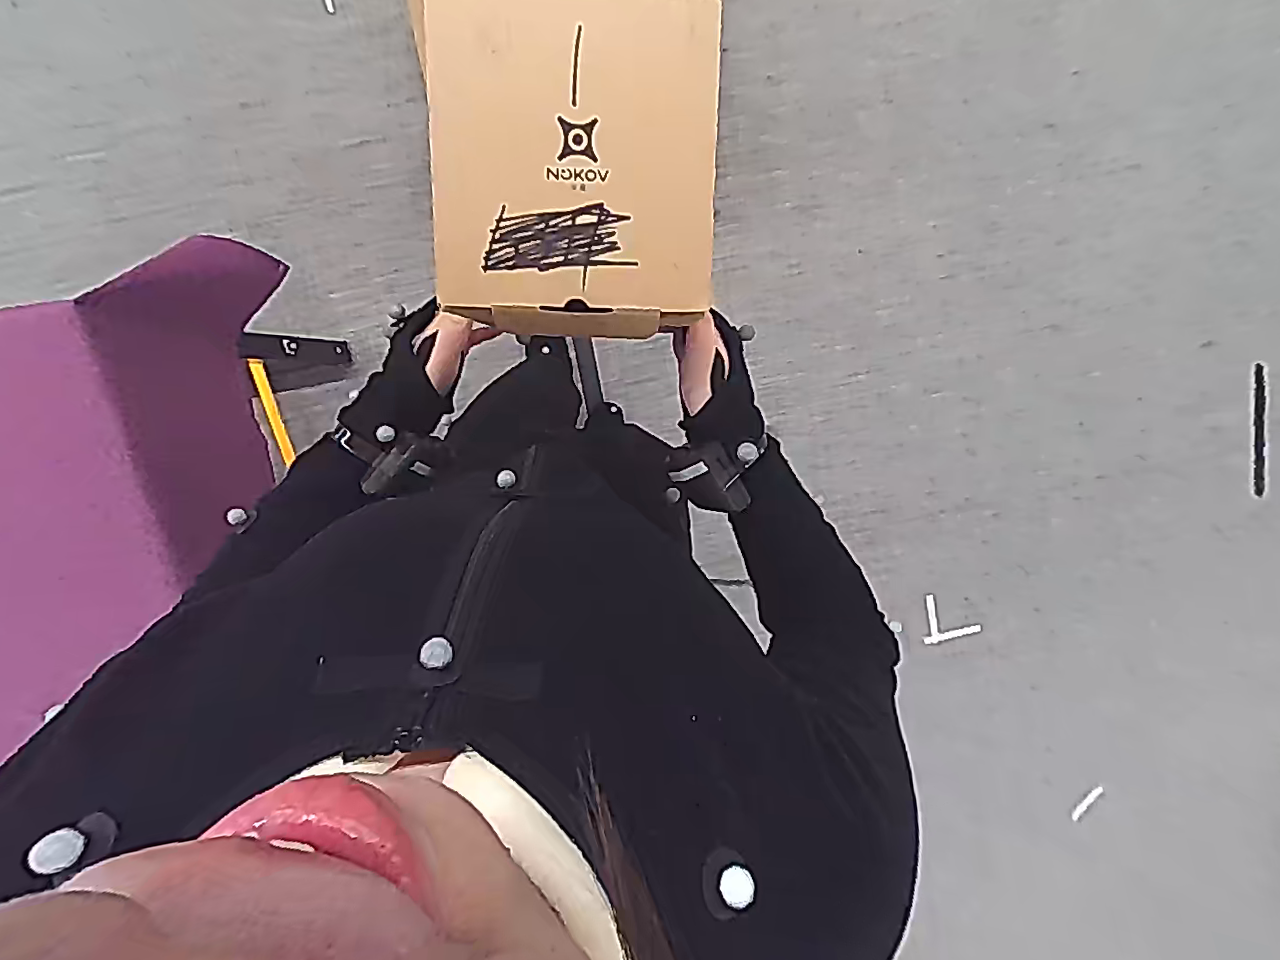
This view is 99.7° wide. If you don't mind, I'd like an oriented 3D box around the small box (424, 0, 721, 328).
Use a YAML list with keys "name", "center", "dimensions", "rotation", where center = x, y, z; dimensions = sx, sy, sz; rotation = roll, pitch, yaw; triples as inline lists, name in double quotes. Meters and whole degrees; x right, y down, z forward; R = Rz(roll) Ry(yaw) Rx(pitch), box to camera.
- name: "small box"
  center: [-0.044, -0.206, 0.390]
  dimensions: [0.168, 0.176, 0.179]
  rotation: [1, 101, -5]
